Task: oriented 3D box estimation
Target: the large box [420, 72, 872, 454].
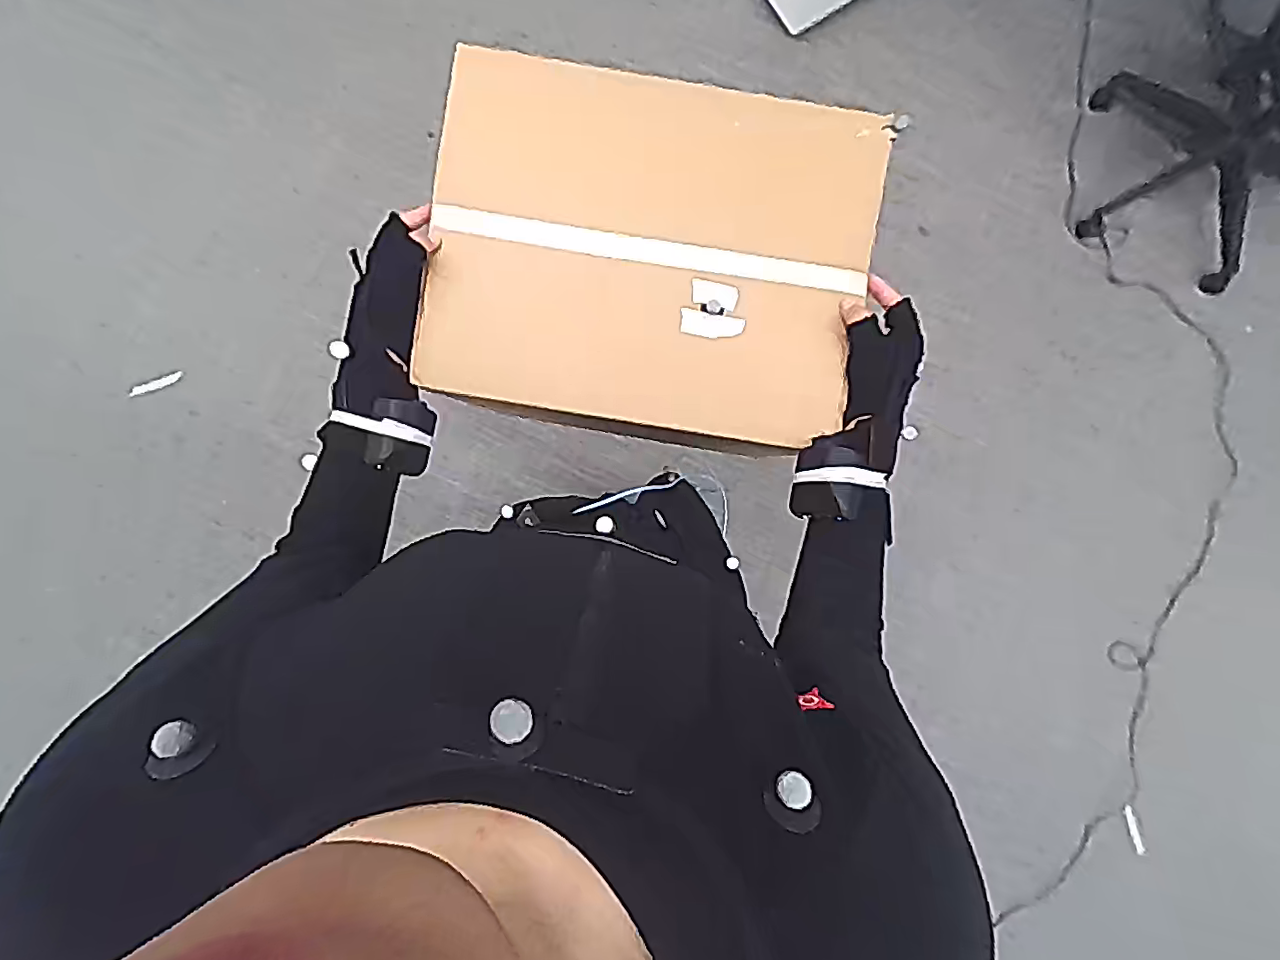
[{"bbox_3d":[0.001,-0.211,0.660,0.408,0.320,0.320,8,93,-1],"label":"large box"}]
